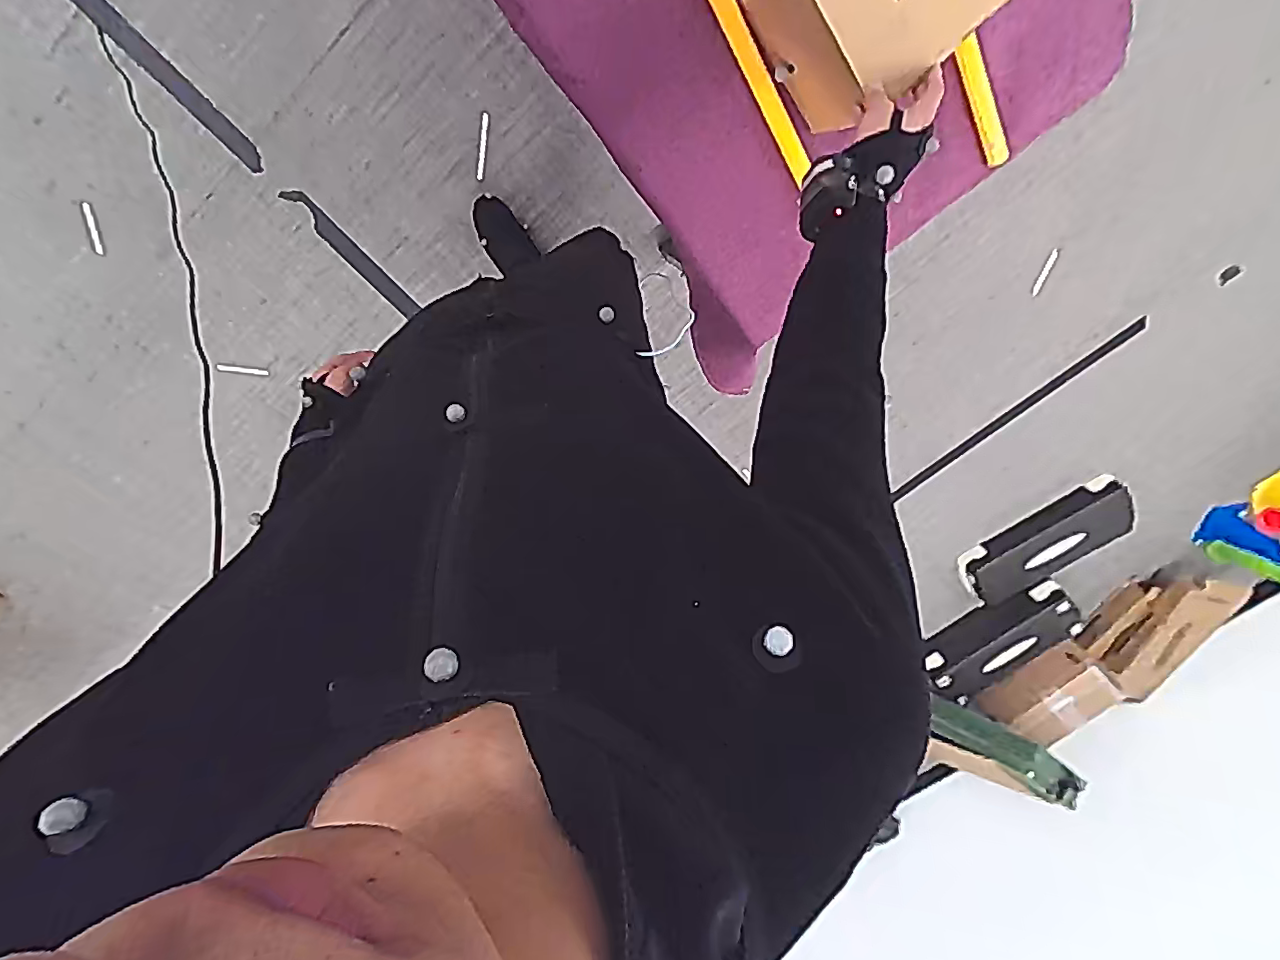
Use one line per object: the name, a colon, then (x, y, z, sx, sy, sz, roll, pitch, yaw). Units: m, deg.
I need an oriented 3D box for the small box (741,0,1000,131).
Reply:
small box: (0.241, -0.524, 0.598, 0.168, 0.176, 0.179, -40, 118, 14)
